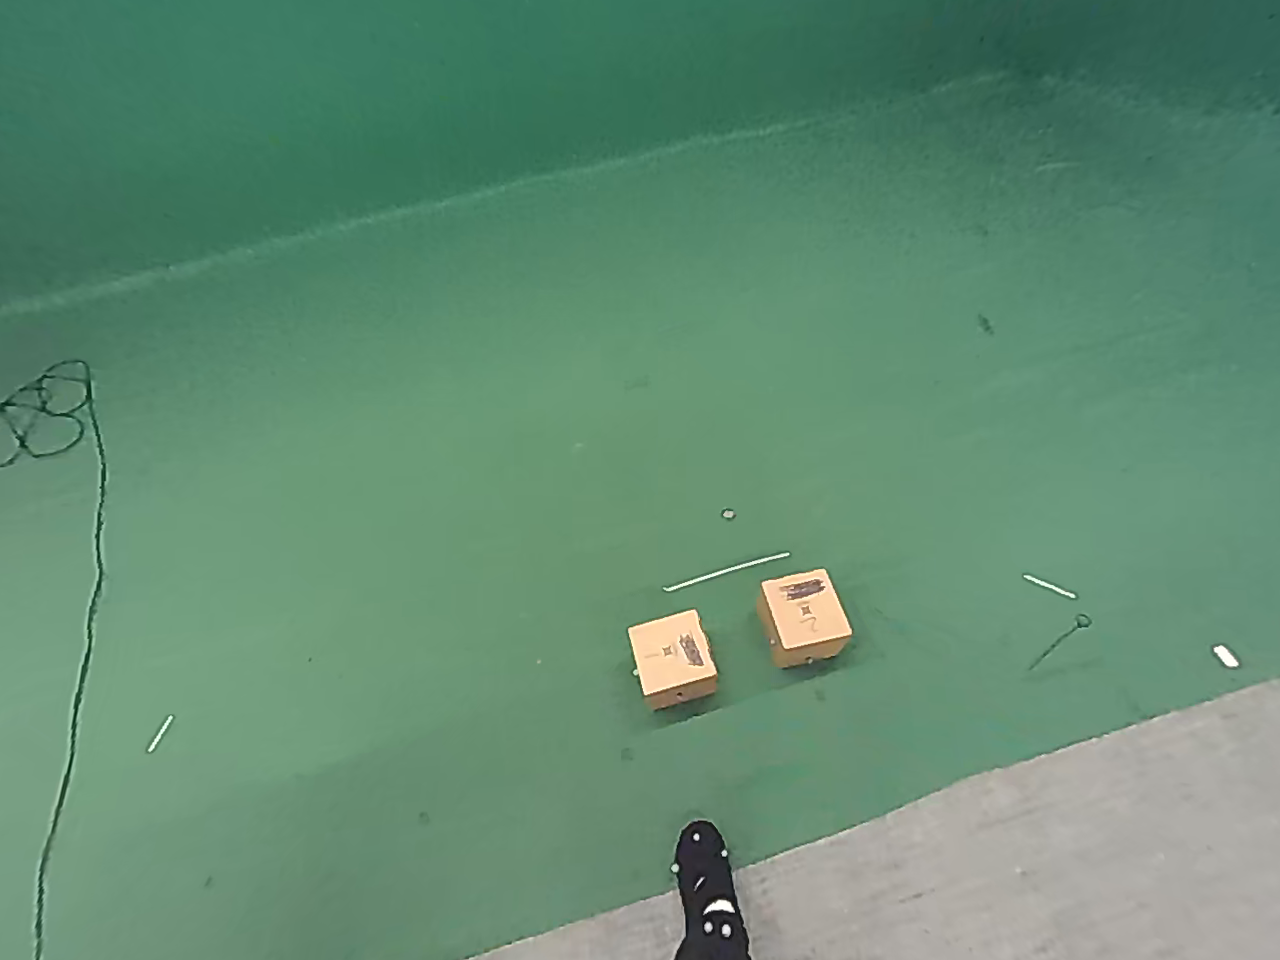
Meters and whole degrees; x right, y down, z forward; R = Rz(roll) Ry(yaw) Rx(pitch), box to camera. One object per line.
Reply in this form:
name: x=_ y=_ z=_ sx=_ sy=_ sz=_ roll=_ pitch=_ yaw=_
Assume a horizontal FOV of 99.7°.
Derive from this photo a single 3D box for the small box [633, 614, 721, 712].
small box: x=0.091 y=0.457 z=1.339 sx=0.179 sy=0.176 sz=0.168 roll=-16 pitch=55 yaw=-2
